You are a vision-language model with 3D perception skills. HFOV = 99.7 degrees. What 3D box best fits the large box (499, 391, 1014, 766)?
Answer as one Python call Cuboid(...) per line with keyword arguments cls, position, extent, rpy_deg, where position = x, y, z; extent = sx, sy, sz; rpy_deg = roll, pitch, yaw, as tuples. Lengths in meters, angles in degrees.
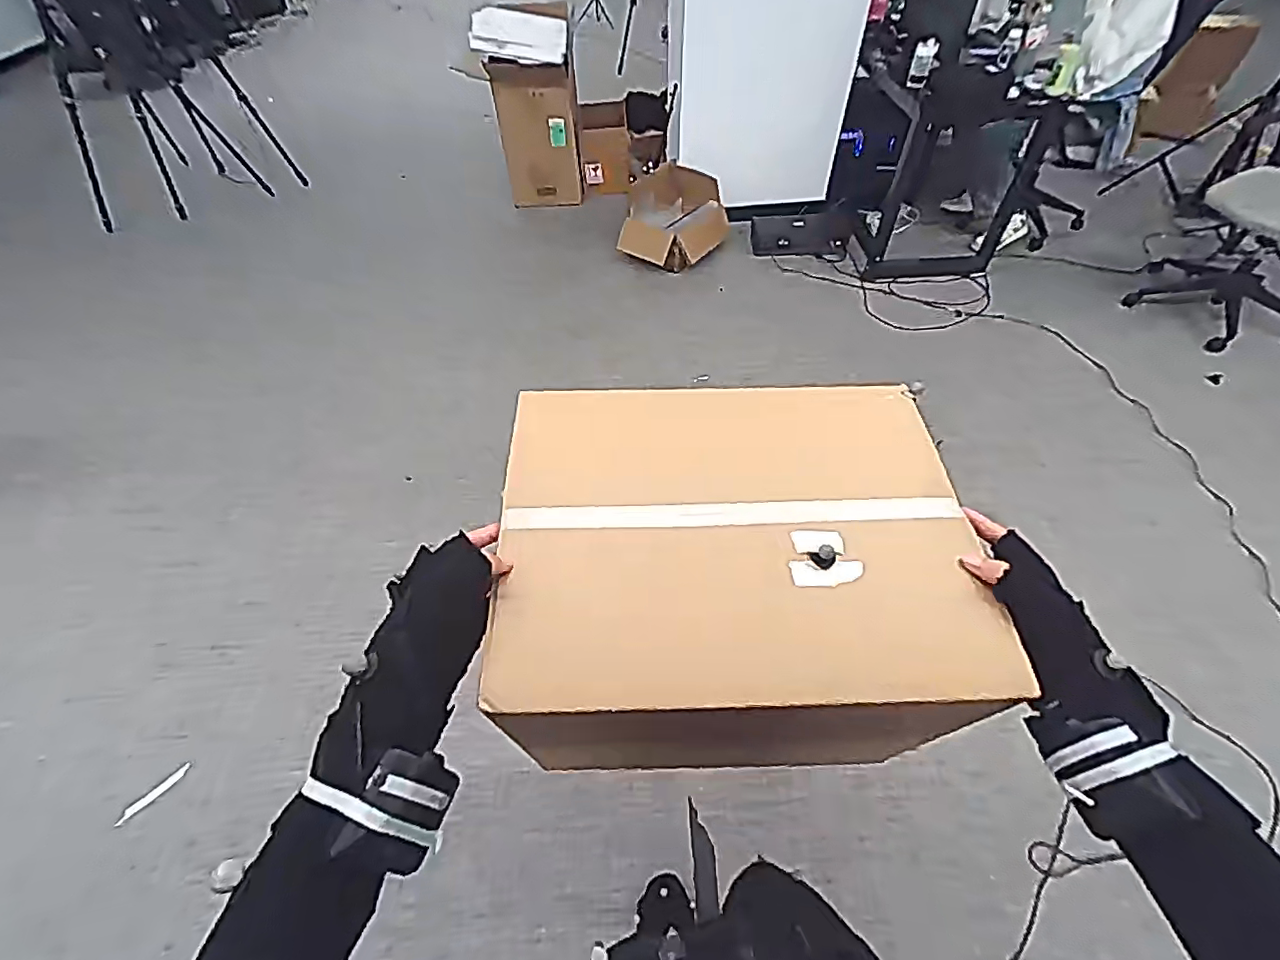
Cuboid(cls="large box", position=(0.081, 0.121, 0.612), extent=(0.408, 0.320, 0.320), rpy_deg=(-2, 56, -2))
